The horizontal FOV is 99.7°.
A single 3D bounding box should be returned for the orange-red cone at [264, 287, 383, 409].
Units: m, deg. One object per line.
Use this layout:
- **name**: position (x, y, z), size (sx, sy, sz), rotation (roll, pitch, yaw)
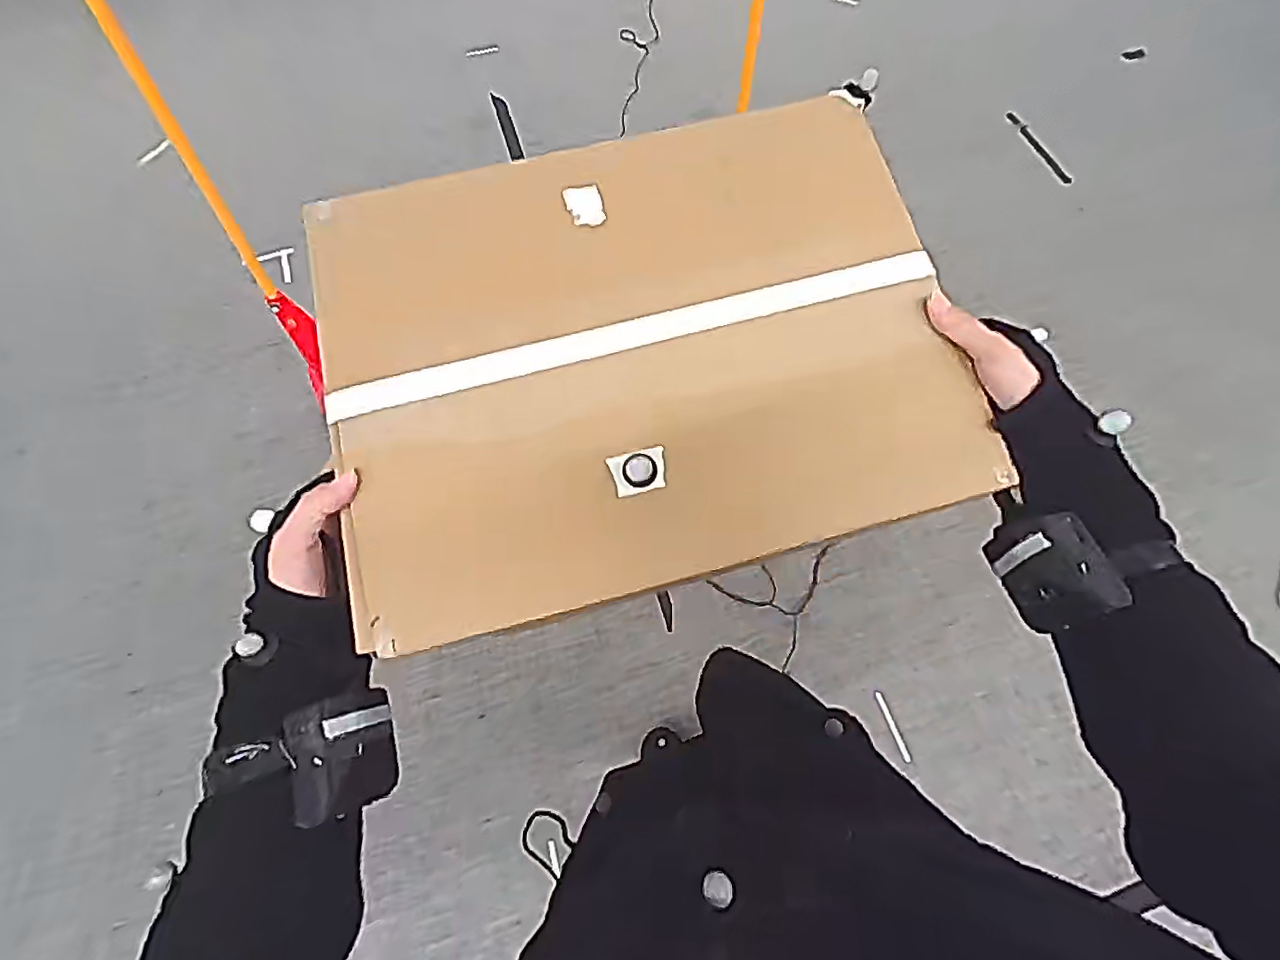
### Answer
- **orange-red cone**: position (-0.889, -0.382, 1.468), size (0.199, 0.360, 0.198), rotation (-25, 68, -8)
